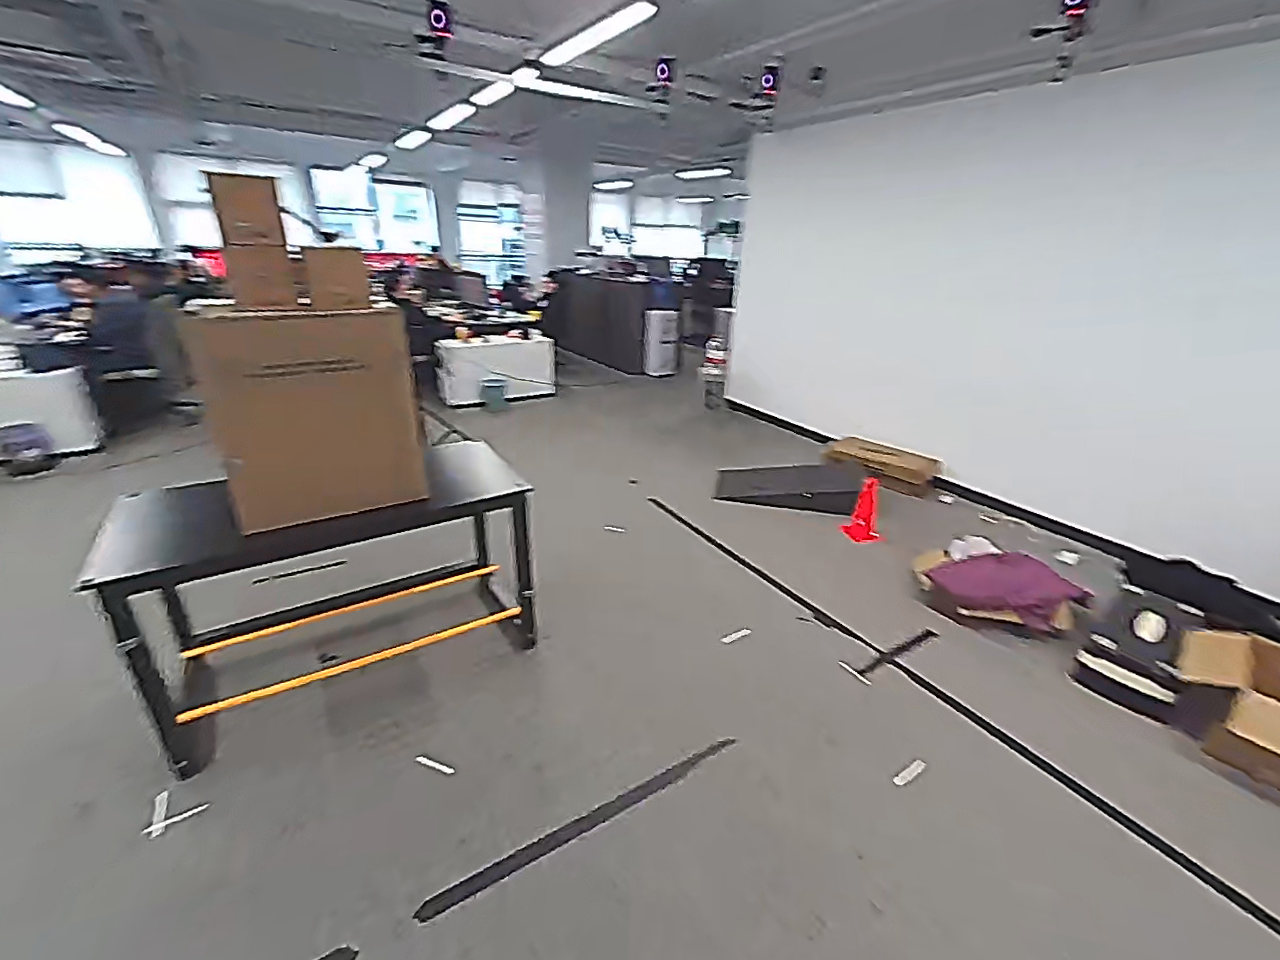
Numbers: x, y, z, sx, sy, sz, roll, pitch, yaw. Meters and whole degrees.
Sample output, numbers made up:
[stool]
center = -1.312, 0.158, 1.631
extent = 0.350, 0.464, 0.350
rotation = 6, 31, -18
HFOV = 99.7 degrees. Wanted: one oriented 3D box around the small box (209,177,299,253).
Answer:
[small box]
center = -1.038, -0.712, 1.461
extent = 0.168, 0.176, 0.179
rotation = -13, 30, -30
